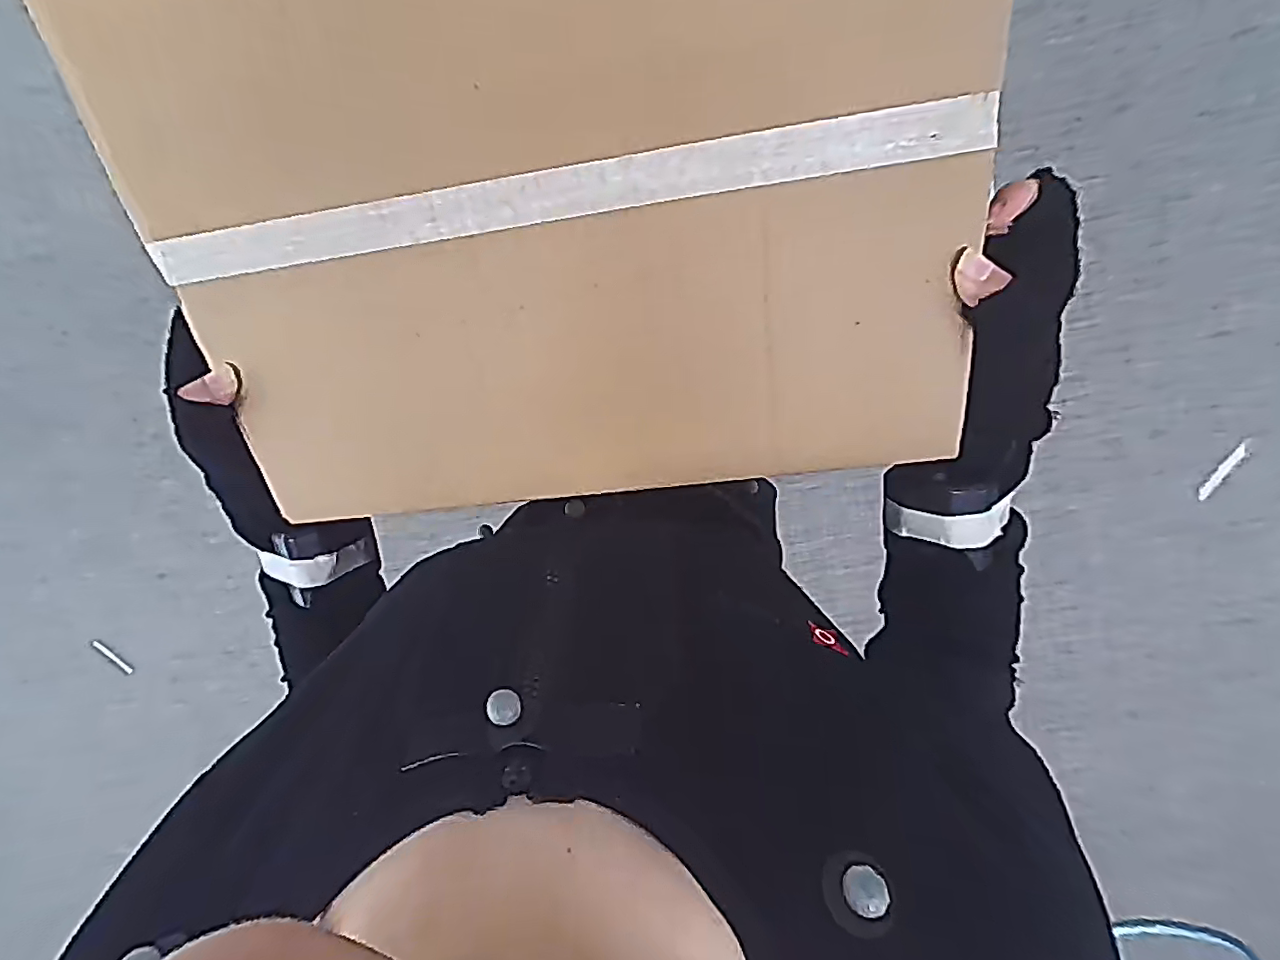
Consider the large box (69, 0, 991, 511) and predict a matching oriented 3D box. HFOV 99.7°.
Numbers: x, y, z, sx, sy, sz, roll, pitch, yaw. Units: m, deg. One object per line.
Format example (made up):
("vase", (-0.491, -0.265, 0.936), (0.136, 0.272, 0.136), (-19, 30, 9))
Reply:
("large box", (-0.038, -0.201, 0.400), (0.408, 0.320, 0.320), (-6, 116, 7))
